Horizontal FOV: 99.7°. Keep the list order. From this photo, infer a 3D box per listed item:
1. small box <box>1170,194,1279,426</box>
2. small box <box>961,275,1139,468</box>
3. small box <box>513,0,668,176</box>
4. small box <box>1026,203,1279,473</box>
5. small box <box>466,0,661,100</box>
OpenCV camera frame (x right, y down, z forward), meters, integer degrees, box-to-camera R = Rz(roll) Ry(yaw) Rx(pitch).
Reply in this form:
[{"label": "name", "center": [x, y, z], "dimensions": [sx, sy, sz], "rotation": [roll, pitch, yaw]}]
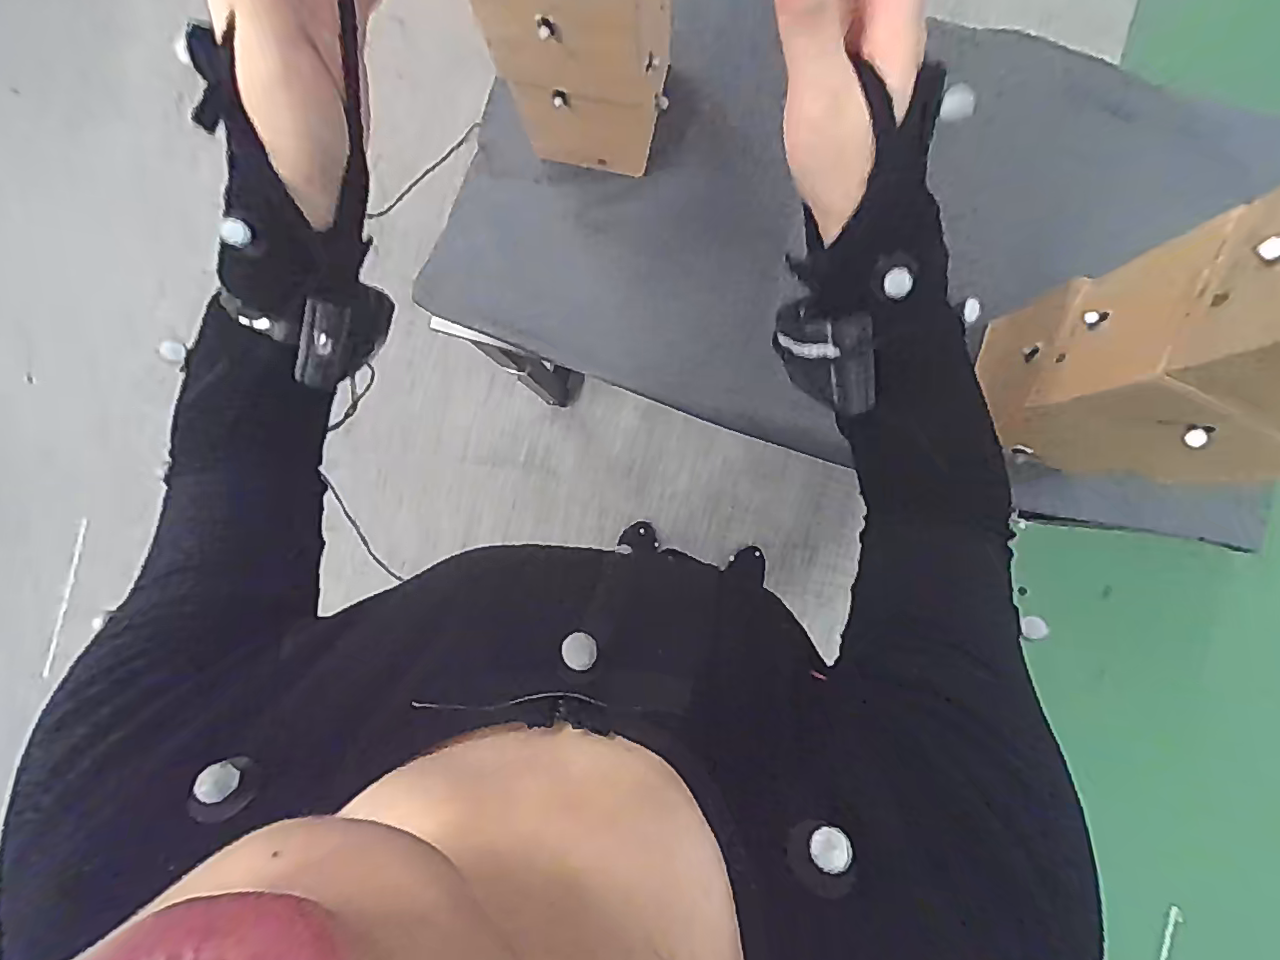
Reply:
[{"label": "small box", "center": [0.530, -0.124, 0.350], "dimensions": [0.179, 0.176, 0.168], "rotation": [29, 89, 4]}, {"label": "small box", "center": [0.542, -0.122, 0.679], "dimensions": [0.168, 0.176, 0.179], "rotation": [17, 89, 3]}, {"label": "small box", "center": [-0.060, -0.543, 0.710], "dimensions": [0.168, 0.176, 0.179], "rotation": [12, 90, 2]}, {"label": "small box", "center": [0.532, -0.115, 0.516], "dimensions": [0.179, 0.176, 0.168], "rotation": [27, 89, 4]}, {"label": "small box", "center": [-0.069, -0.528, 0.545], "dimensions": [0.179, 0.176, 0.168], "rotation": [13, 91, 3]}]
